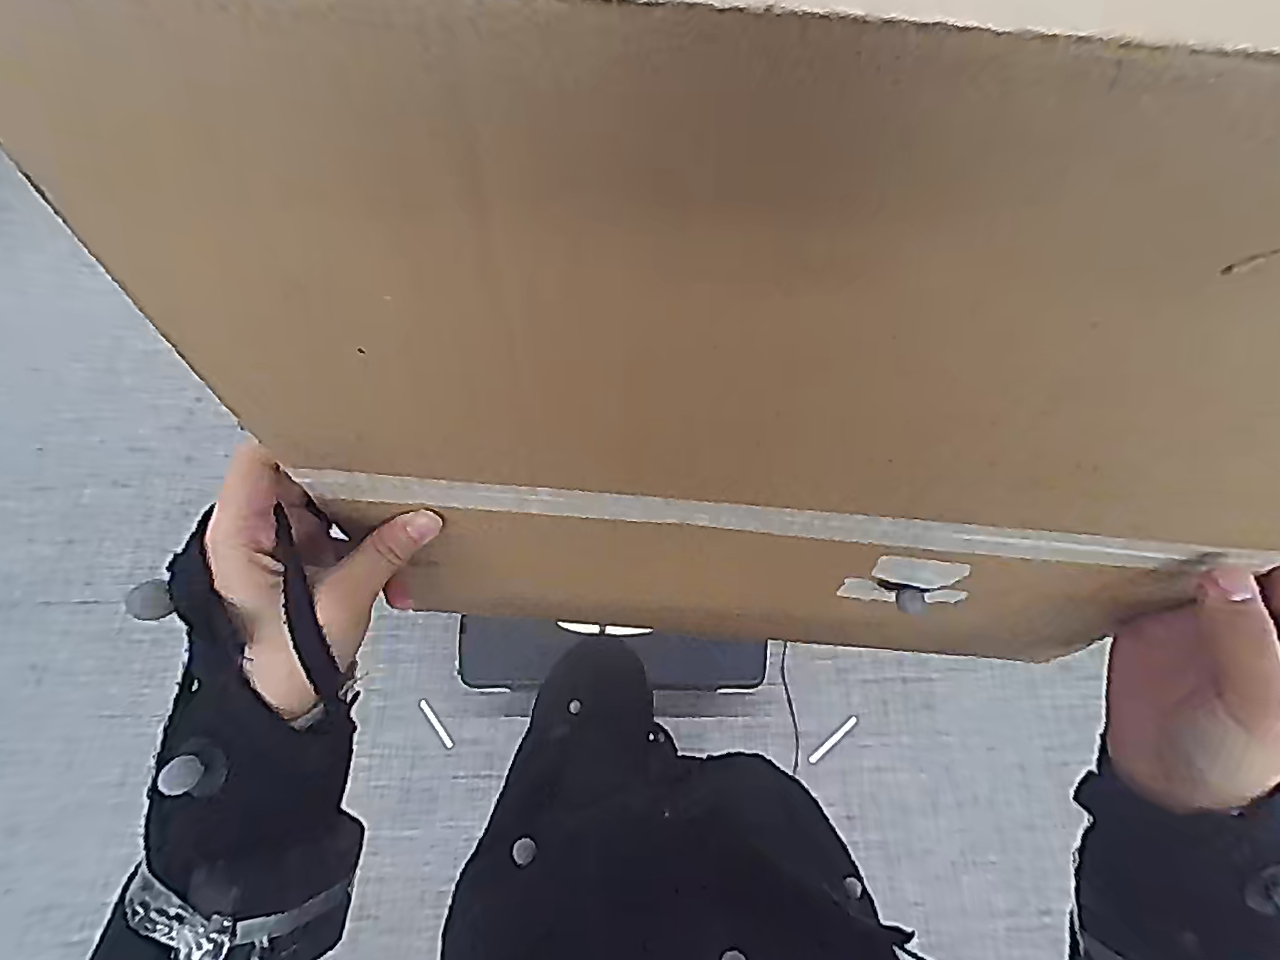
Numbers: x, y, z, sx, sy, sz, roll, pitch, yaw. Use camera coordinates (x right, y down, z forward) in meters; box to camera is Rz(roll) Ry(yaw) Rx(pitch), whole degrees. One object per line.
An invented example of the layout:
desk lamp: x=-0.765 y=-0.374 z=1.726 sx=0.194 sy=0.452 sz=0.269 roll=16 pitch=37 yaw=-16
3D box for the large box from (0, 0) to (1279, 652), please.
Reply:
large box: x=0.067 y=-0.109 z=0.311 sx=0.408 sy=0.320 sz=0.320 roll=4 pitch=57 yaw=0
